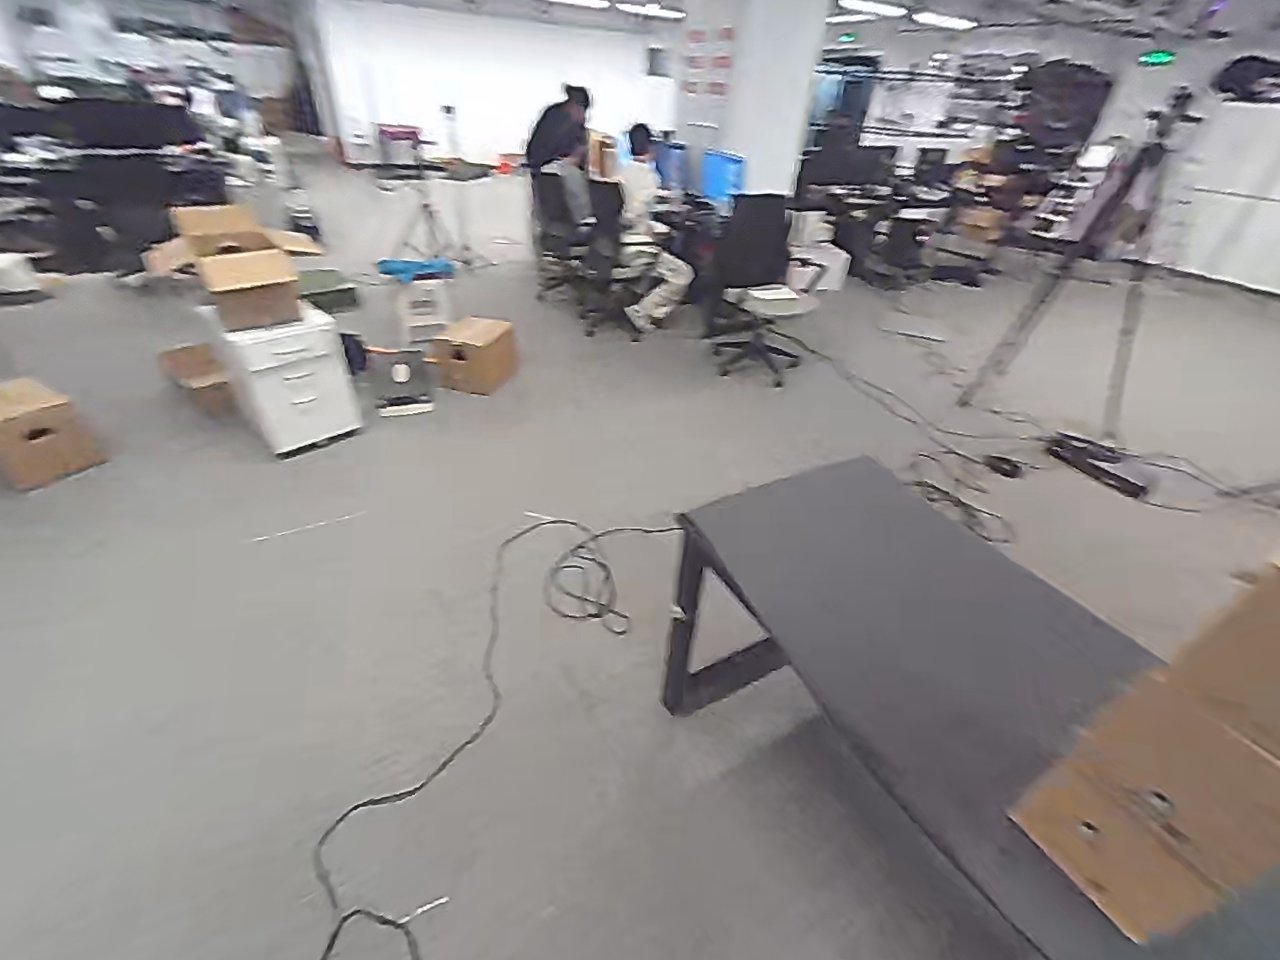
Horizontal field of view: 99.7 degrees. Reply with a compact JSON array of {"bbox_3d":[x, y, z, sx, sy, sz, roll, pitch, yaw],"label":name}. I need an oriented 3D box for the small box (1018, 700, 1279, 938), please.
[{"bbox_3d":[0.628,0.425,0.687,0.179,0.176,0.168,-14,39,-26],"label":"small box"}]

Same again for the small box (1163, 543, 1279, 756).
[{"bbox_3d":[0.652,0.155,0.501,0.179,0.176,0.168,-16,40,-28],"label":"small box"}]
